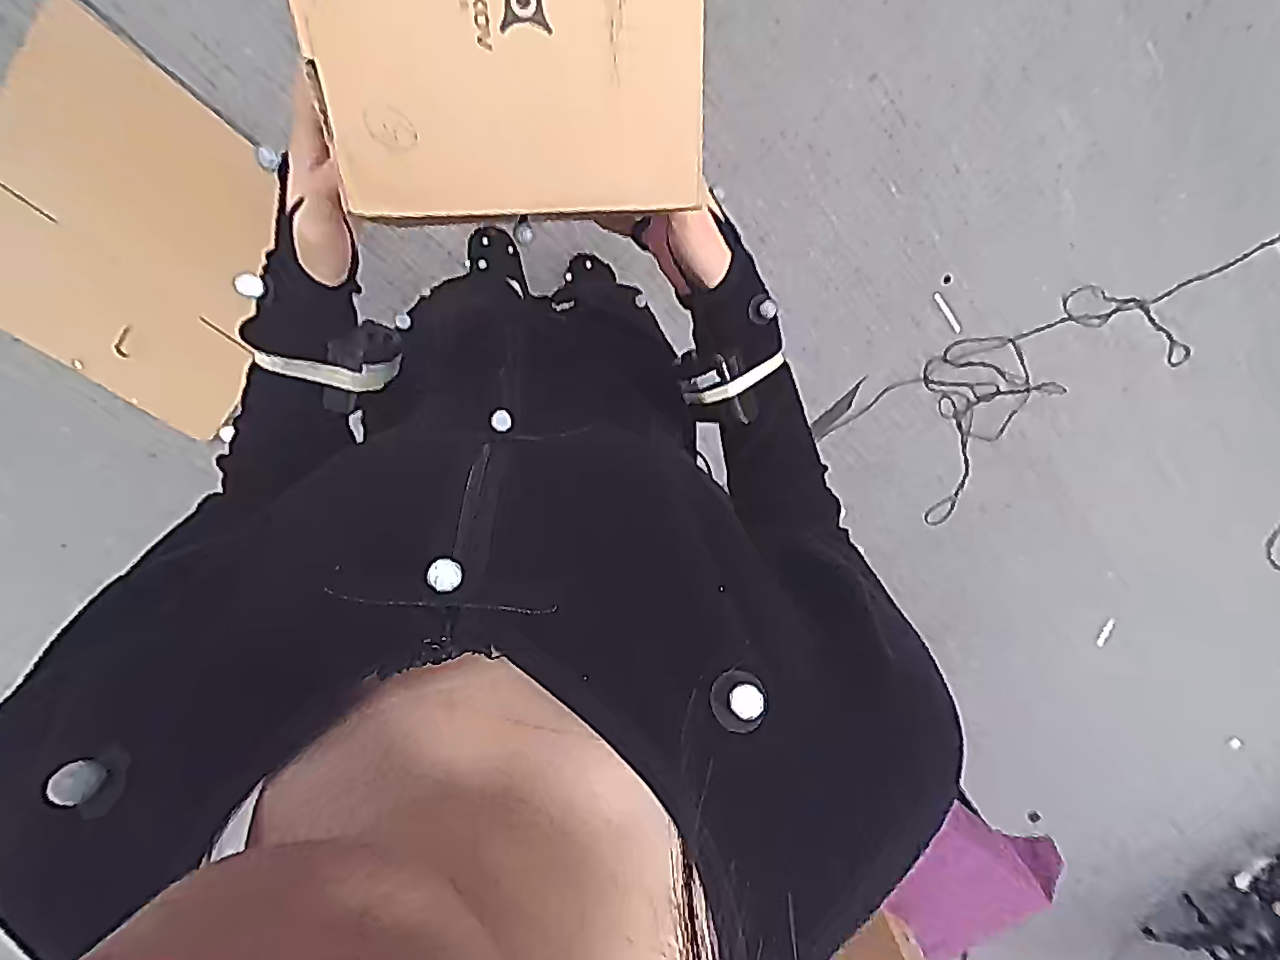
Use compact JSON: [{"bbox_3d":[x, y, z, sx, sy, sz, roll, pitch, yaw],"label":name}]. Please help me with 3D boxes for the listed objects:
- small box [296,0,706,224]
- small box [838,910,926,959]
[{"bbox_3d":[-0.073,-0.238,0.302,0.179,0.176,0.168,-9,116,-13],"label":"small box"},{"bbox_3d":[0.635,1.254,1.384,0.179,0.176,0.168,-41,115,12],"label":"small box"}]
